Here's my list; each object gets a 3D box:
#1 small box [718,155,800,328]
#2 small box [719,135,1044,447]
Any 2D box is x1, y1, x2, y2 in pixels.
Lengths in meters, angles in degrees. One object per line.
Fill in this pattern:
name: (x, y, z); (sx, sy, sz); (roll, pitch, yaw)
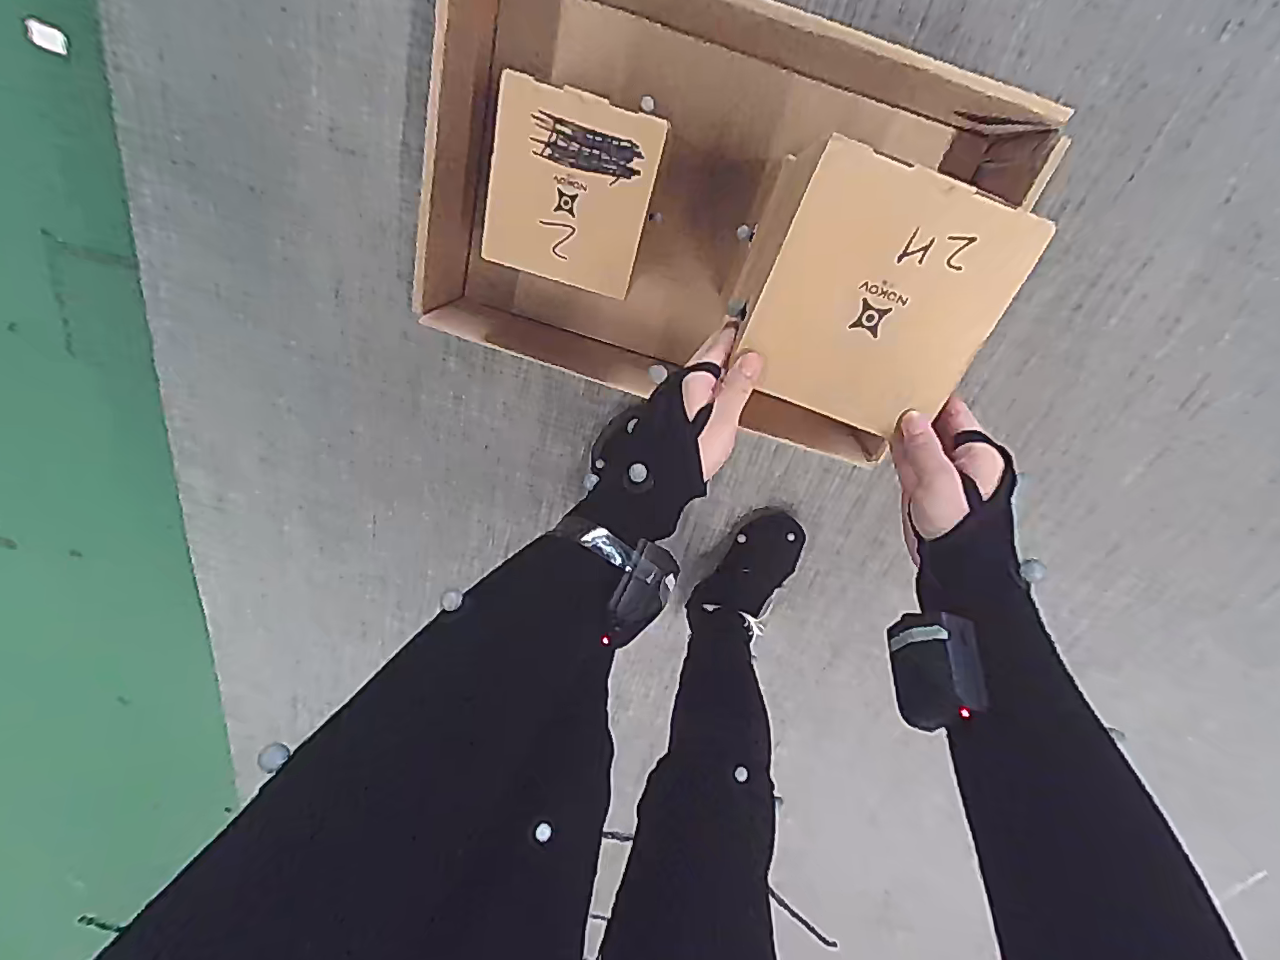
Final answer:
small box: (0.201, -0.255, 0.636); (0.168, 0.176, 0.179); (19, 119, -3)
small box: (0.179, -0.160, 0.466); (0.168, 0.176, 0.179); (21, 117, -3)
